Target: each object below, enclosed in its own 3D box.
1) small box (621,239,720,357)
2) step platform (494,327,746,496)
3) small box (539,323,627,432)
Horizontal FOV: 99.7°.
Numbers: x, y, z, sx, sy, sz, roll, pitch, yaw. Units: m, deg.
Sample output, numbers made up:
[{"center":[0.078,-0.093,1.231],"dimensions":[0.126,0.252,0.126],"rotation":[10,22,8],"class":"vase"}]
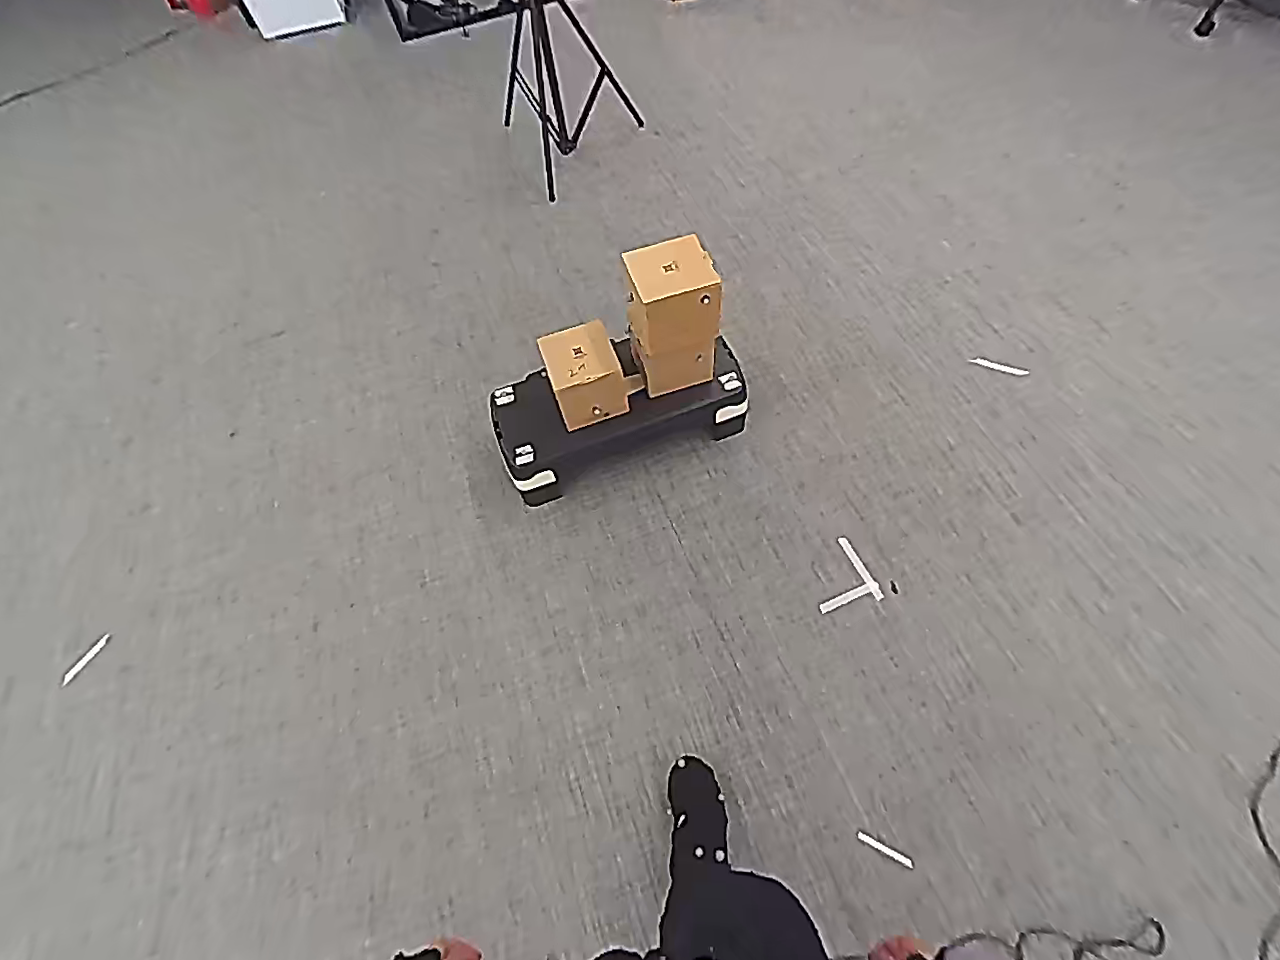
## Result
[{"center":[0.070,-0.406,1.226],"dimensions":[0.179,0.176,0.168],"rotation":[-18,62,-5],"class":"small box"},{"center":[-0.053,-0.212,1.515],"dimensions":[0.684,0.204,0.286],"rotation":[-21,61,-6],"class":"step platform"},{"center":[-0.139,-0.251,1.346],"dimensions":[0.168,0.176,0.179],"rotation":[-19,62,-5],"class":"small box"}]
